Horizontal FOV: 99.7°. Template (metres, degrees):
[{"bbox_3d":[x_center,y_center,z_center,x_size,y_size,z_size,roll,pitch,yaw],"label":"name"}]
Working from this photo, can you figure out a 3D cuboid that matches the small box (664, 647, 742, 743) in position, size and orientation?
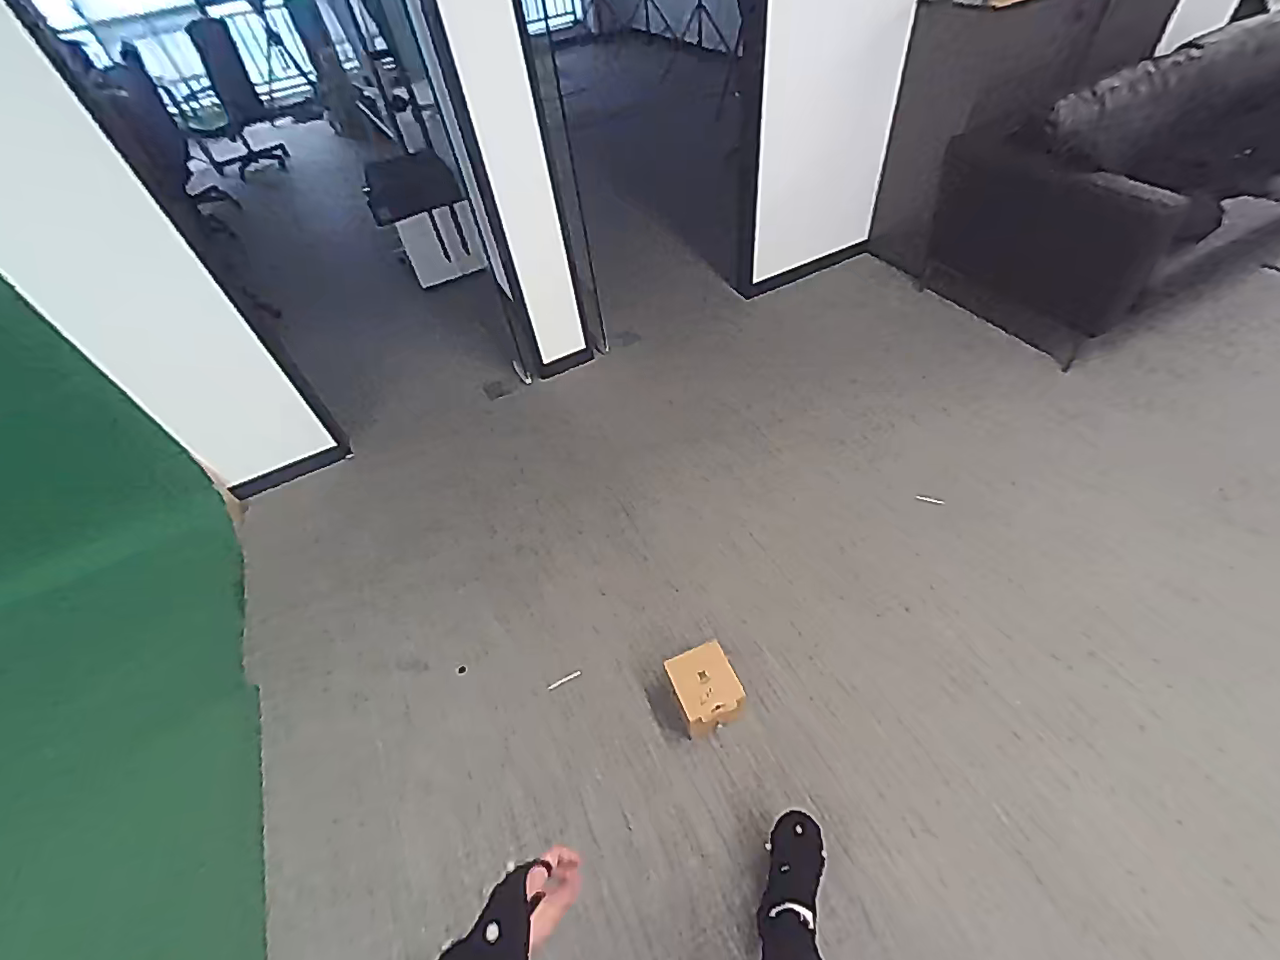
[{"bbox_3d":[0.172,0.596,1.491,0.168,0.176,0.179,-17,50,-4],"label":"small box"}]
